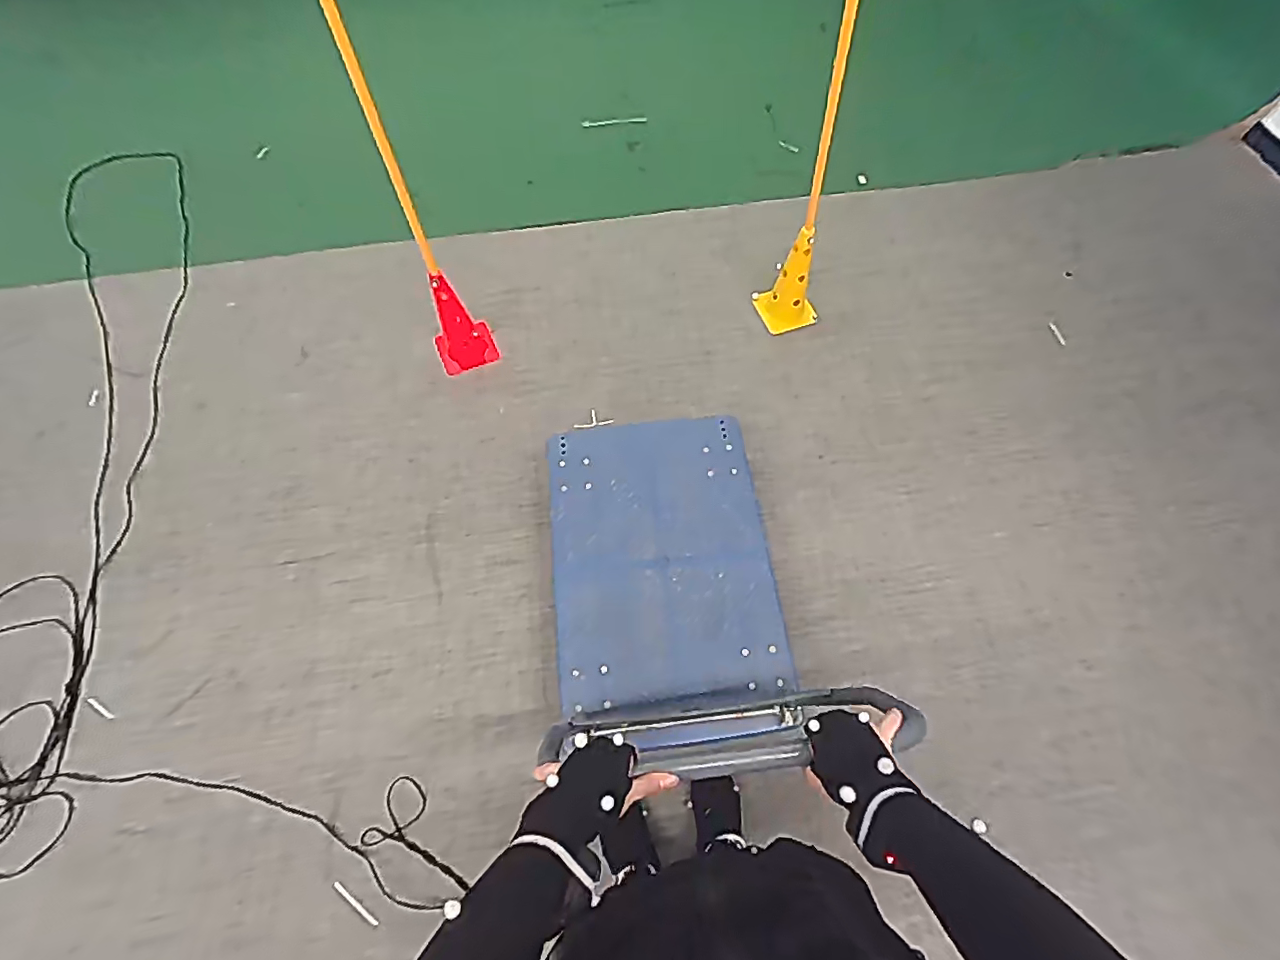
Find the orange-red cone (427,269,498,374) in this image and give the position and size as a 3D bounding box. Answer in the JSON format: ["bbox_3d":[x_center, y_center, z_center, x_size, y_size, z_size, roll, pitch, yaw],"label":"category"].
[{"bbox_3d":[-0.631,-0.553,1.806,0.199,0.360,0.198,-22,65,-9],"label":"orange-red cone"}]
